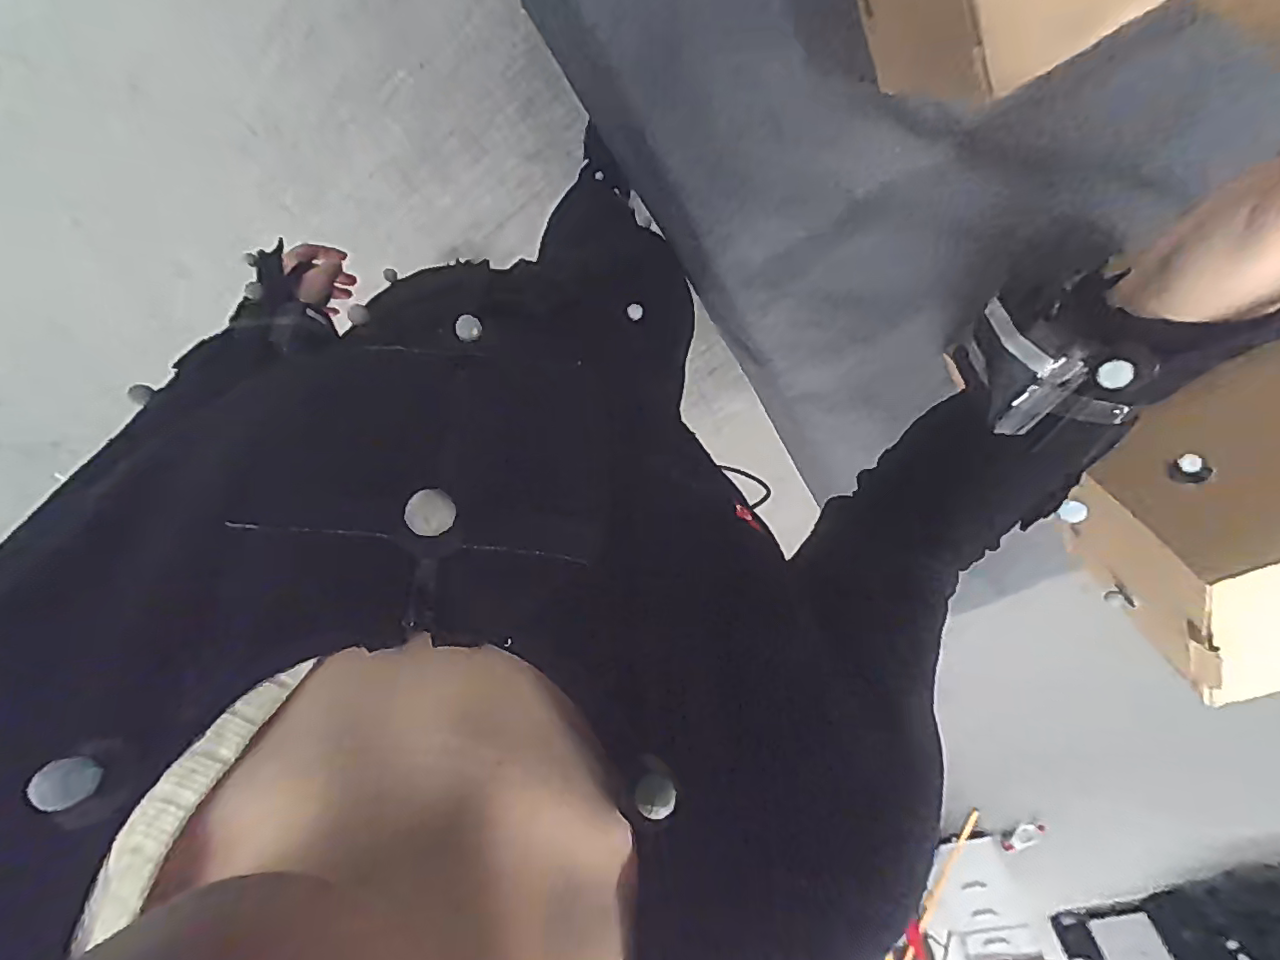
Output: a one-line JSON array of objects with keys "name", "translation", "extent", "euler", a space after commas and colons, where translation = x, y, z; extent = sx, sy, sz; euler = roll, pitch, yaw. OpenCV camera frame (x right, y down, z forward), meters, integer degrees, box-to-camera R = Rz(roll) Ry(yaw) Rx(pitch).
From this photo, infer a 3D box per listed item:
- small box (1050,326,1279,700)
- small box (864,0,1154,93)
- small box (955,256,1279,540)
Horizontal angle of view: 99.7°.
[{"name": "small box", "translation": [0.439, 0.022, 0.393], "extent": [0.179, 0.176, 0.168], "euler": [-28, 124, 19]}, {"name": "small box", "translation": [0.229, -0.356, 0.306], "extent": [0.179, 0.176, 0.168], "euler": [-26, 124, 17]}, {"name": "small box", "translation": [0.436, -0.080, 0.520], "extent": [0.179, 0.176, 0.168], "euler": [-30, 122, 21]}]
